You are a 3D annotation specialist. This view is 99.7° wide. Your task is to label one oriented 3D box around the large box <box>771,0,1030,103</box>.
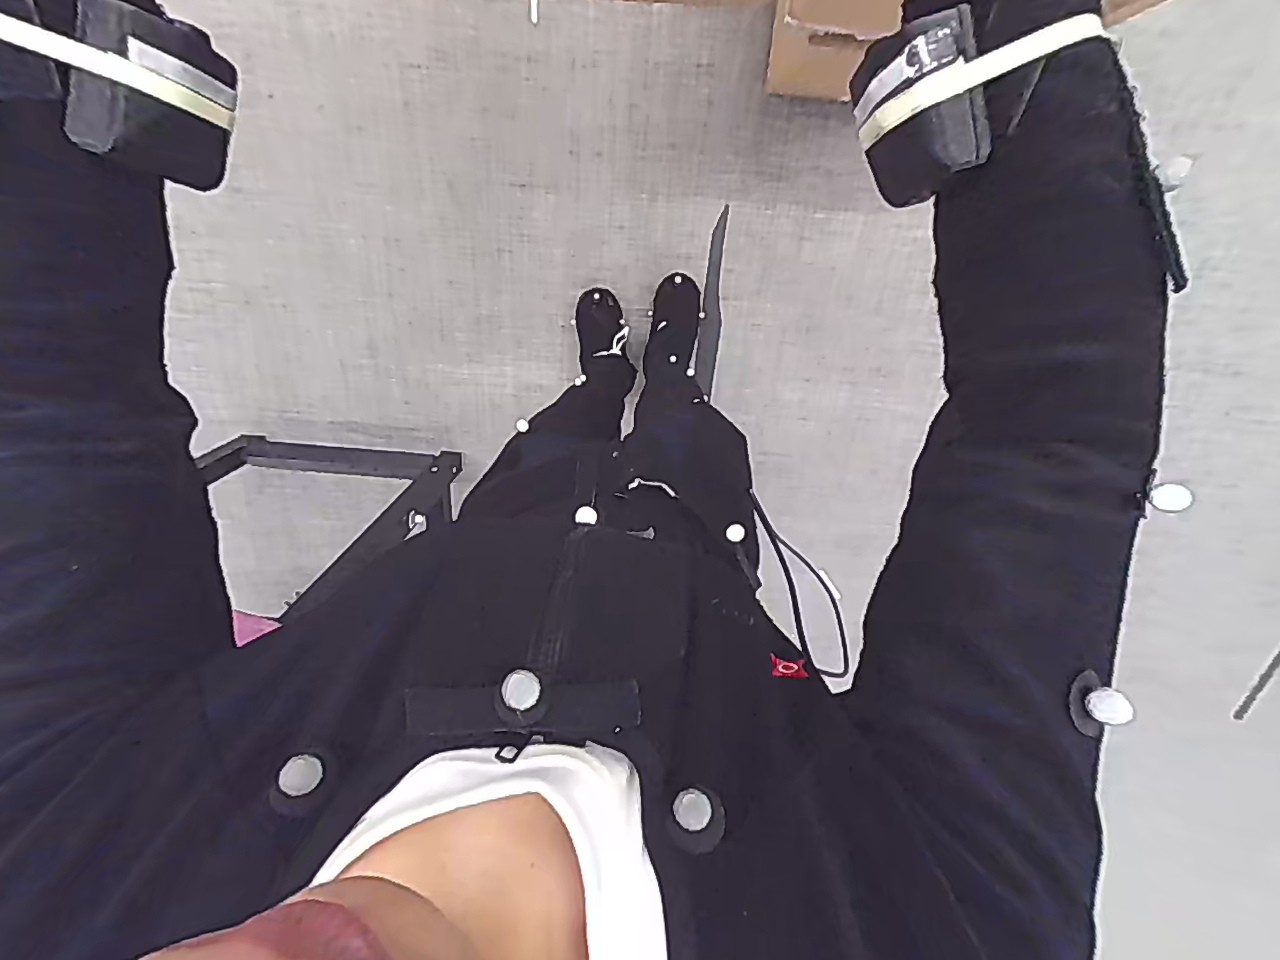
[{"bbox_3d":[0.417,-0.876,0.857,0.320,0.320,0.408,3,115,0],"label":"large box"}]
